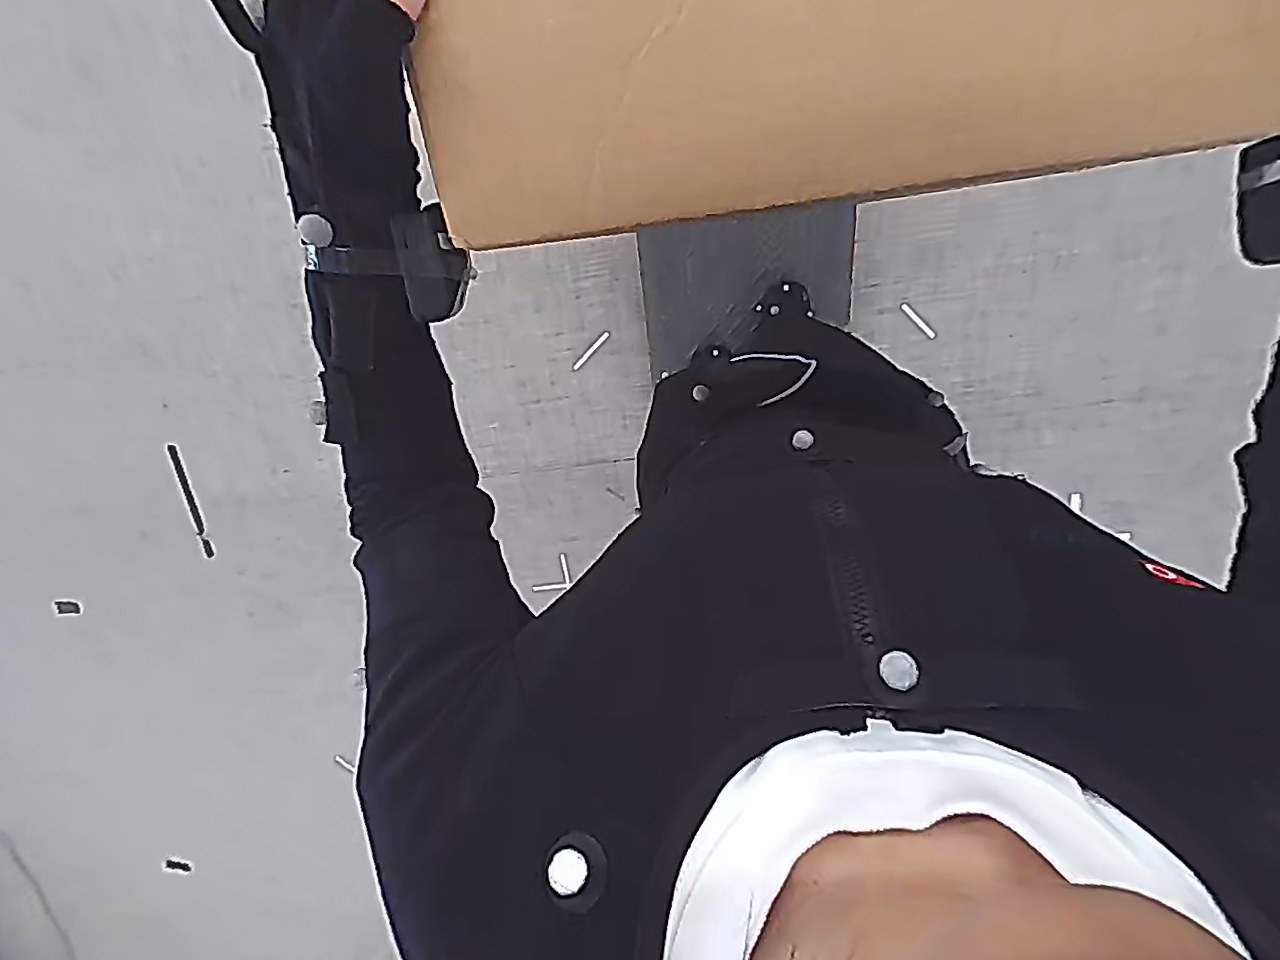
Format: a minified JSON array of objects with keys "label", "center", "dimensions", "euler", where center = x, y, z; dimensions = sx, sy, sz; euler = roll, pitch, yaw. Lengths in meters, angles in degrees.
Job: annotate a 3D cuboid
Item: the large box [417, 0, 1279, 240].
[{"label":"large box","center":[0.091,-0.355,0.353],"dimensions":[0.408,0.320,0.320],"euler":[-5,115,8]}]
